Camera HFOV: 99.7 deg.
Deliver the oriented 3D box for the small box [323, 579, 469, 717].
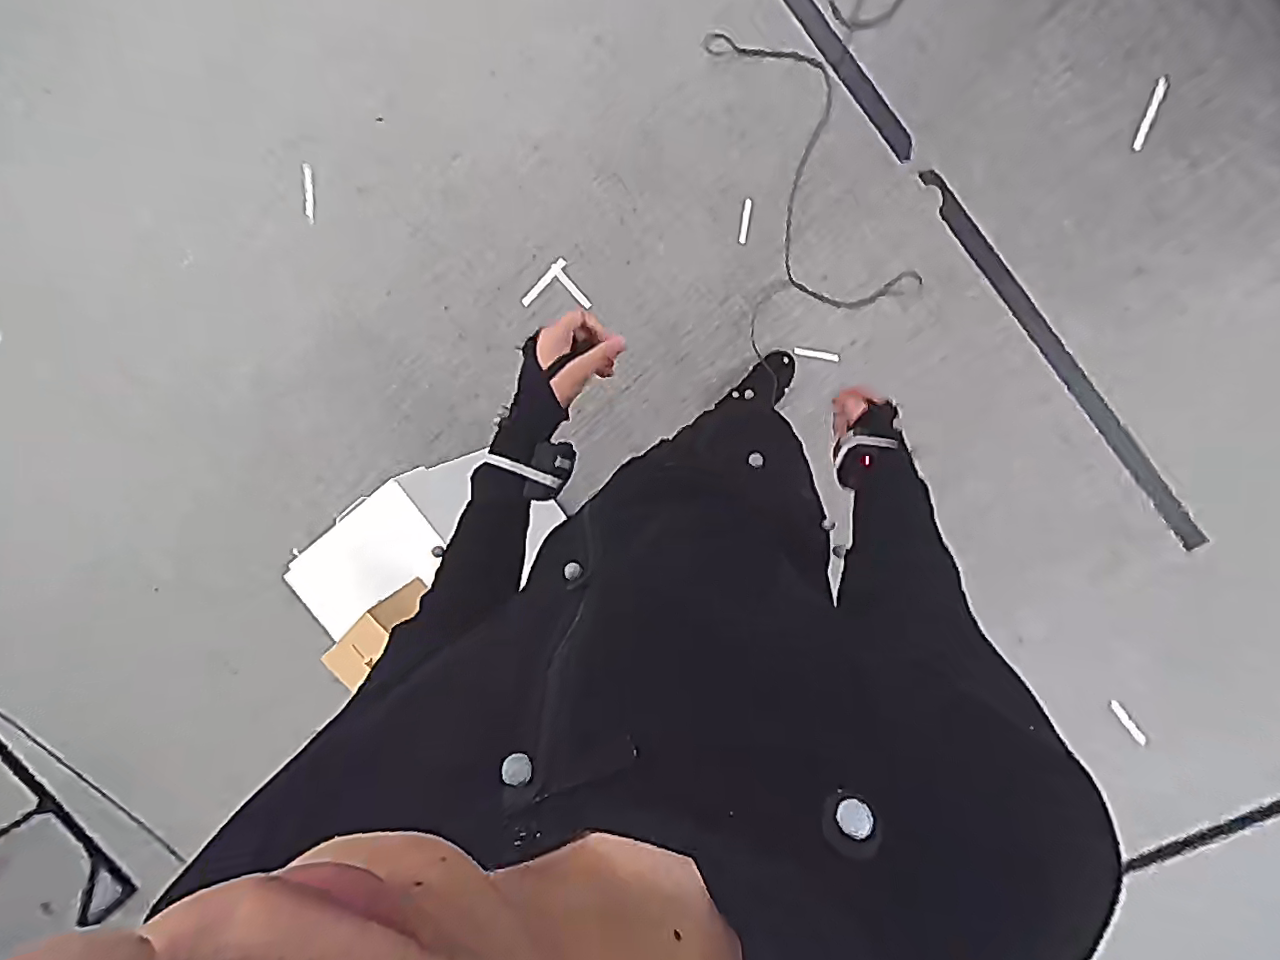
[{"bbox_3d":[-0.491,0.337,1.112,0.168,0.176,0.179,-43,91,17],"label":"small box"}]
